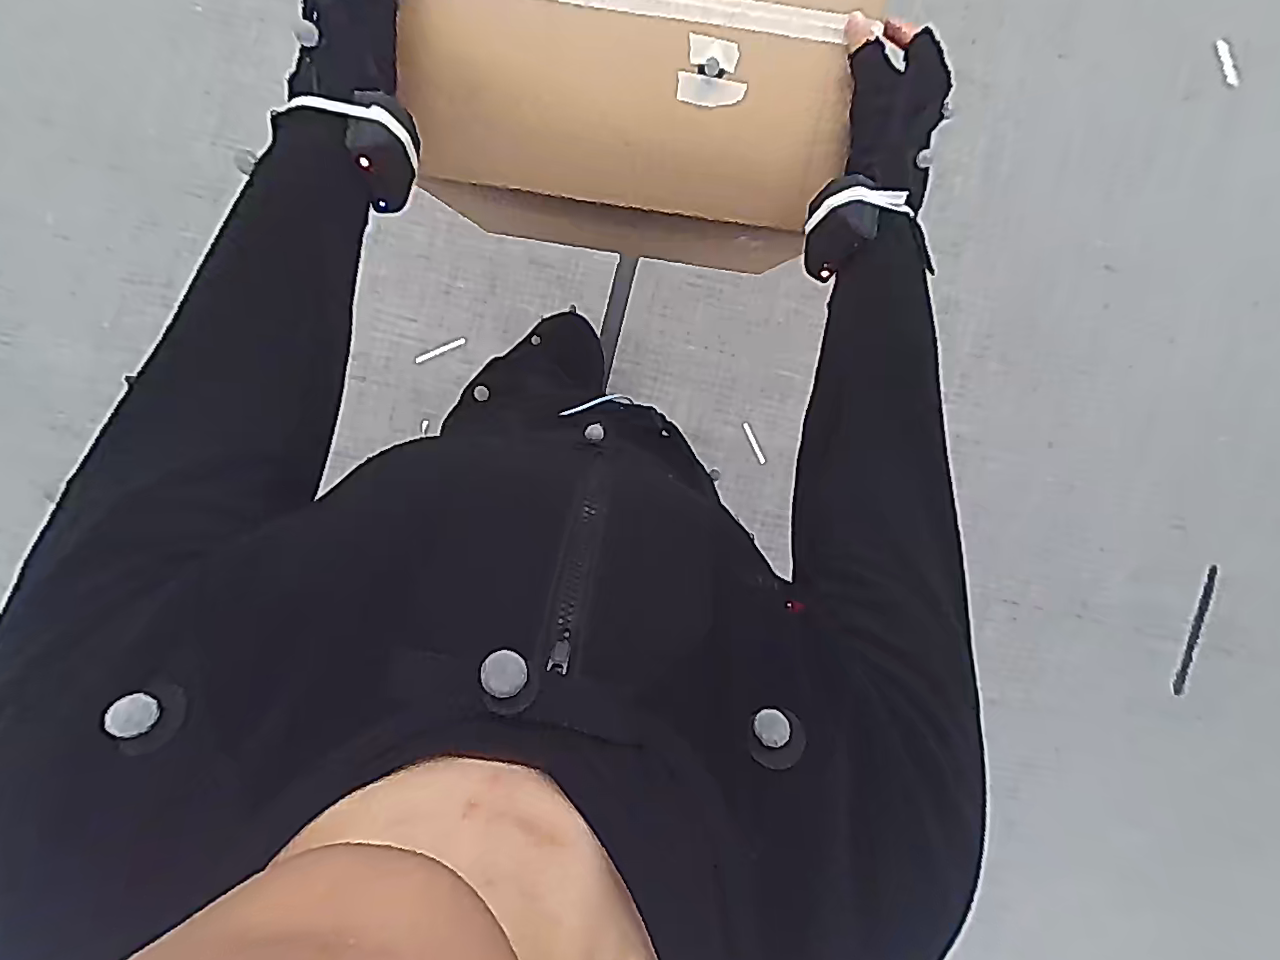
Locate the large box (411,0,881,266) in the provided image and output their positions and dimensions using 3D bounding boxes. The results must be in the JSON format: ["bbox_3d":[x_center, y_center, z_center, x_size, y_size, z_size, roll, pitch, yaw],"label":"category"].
[{"bbox_3d":[0.003,-0.444,0.604,0.408,0.320,0.320,7,105,-3],"label":"large box"}]
